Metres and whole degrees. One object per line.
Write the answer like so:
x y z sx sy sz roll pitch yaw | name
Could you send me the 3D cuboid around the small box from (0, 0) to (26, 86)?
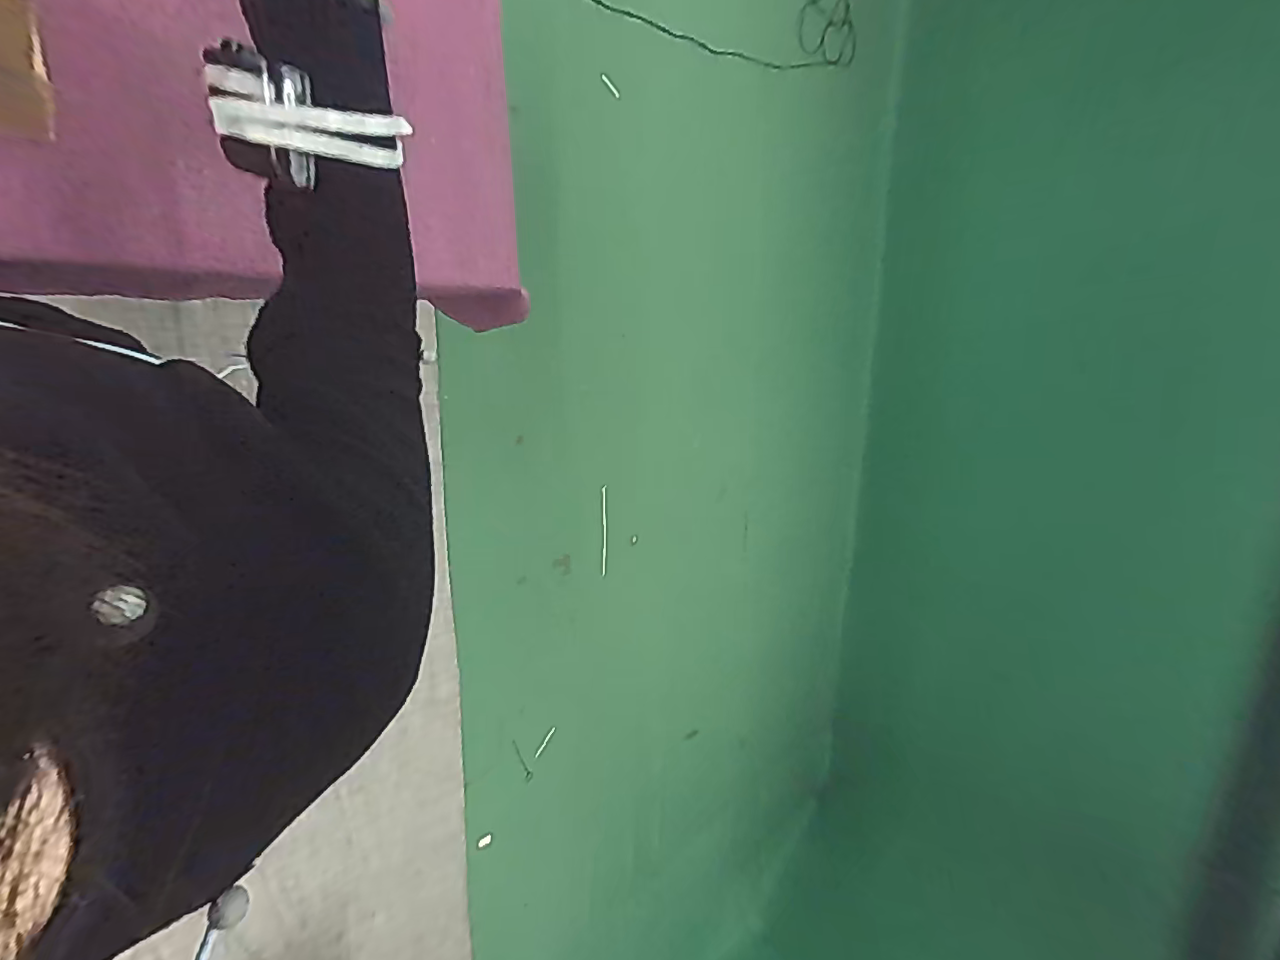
-0.450 -0.353 0.276 0.168 0.176 0.179 -9 105 -46 | small box
